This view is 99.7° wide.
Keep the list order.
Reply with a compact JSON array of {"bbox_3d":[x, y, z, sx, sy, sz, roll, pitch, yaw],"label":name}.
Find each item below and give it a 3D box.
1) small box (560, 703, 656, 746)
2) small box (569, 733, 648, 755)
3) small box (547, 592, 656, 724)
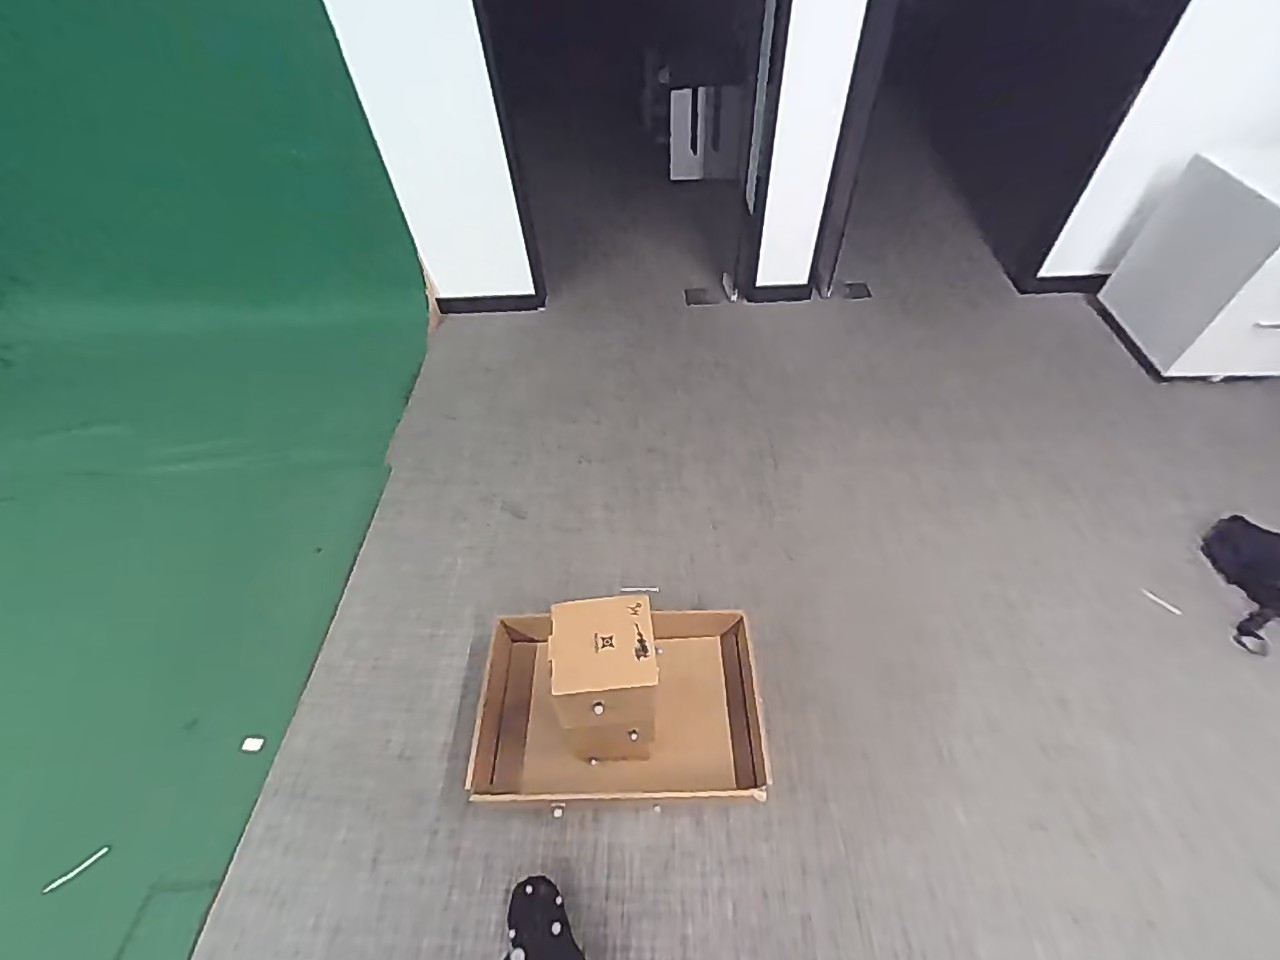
[{"bbox_3d":[-0.066,0.421,1.092,0.179,0.176,0.168,-6,50,-4],"label":"small box"},{"bbox_3d":[-0.067,0.522,1.239,0.168,0.176,0.179,-2,50,1],"label":"small box"},{"bbox_3d":[-0.068,0.326,0.982,0.179,0.176,0.168,-7,48,-5],"label":"small box"}]
